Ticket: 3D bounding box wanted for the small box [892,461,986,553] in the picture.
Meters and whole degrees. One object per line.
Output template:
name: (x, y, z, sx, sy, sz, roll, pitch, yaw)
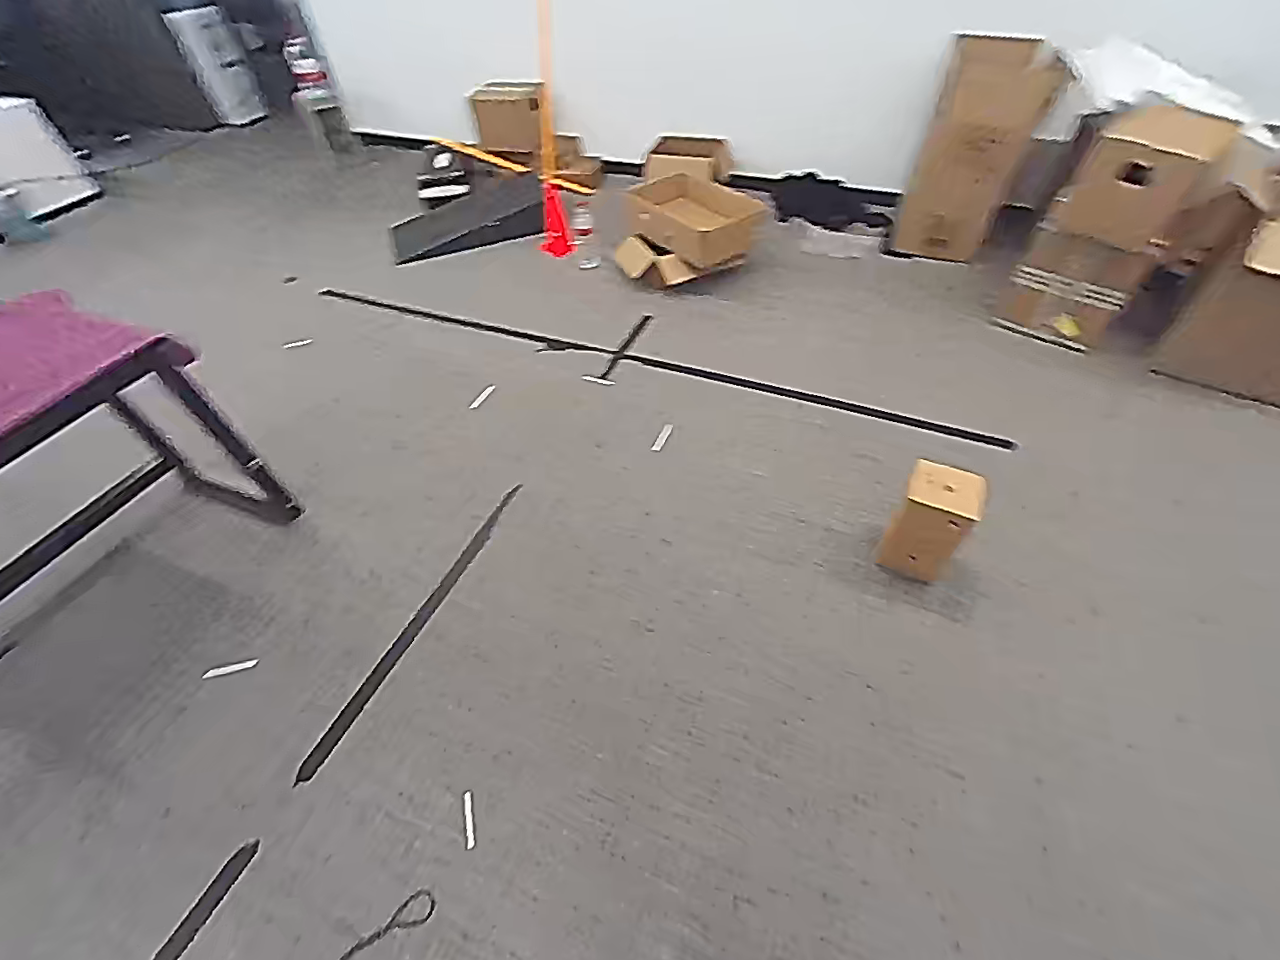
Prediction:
small box: (0.838, 0.080, 1.521, 0.179, 0.176, 0.168, 20, 53, 20)
